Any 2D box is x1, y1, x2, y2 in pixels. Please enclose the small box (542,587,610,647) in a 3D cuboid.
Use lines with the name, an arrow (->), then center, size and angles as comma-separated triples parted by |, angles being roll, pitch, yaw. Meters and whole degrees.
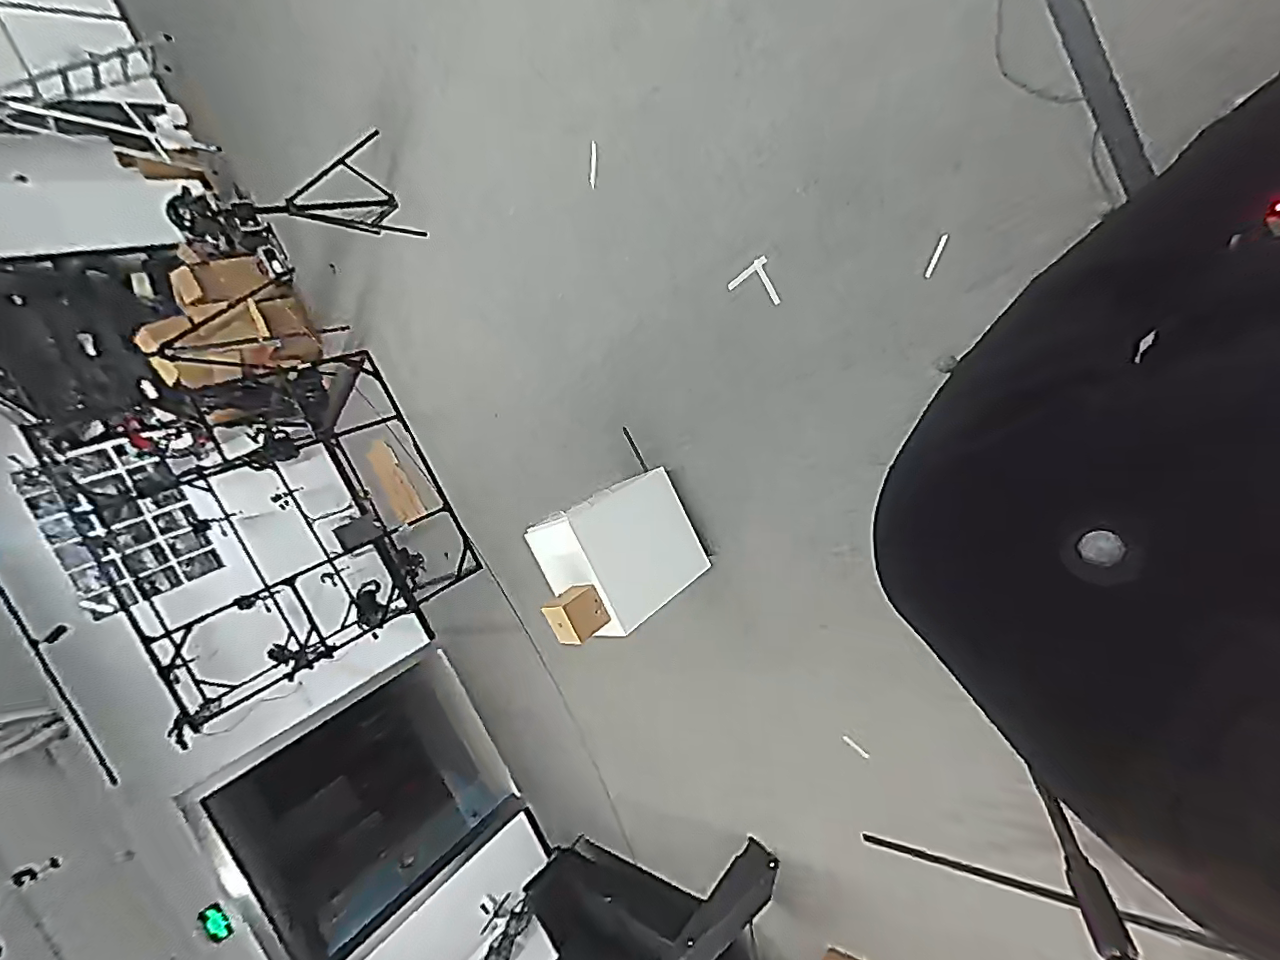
small box -> -0.249, 0.531, 2.118 | 0.179, 0.176, 0.168 | -19, 99, 52
